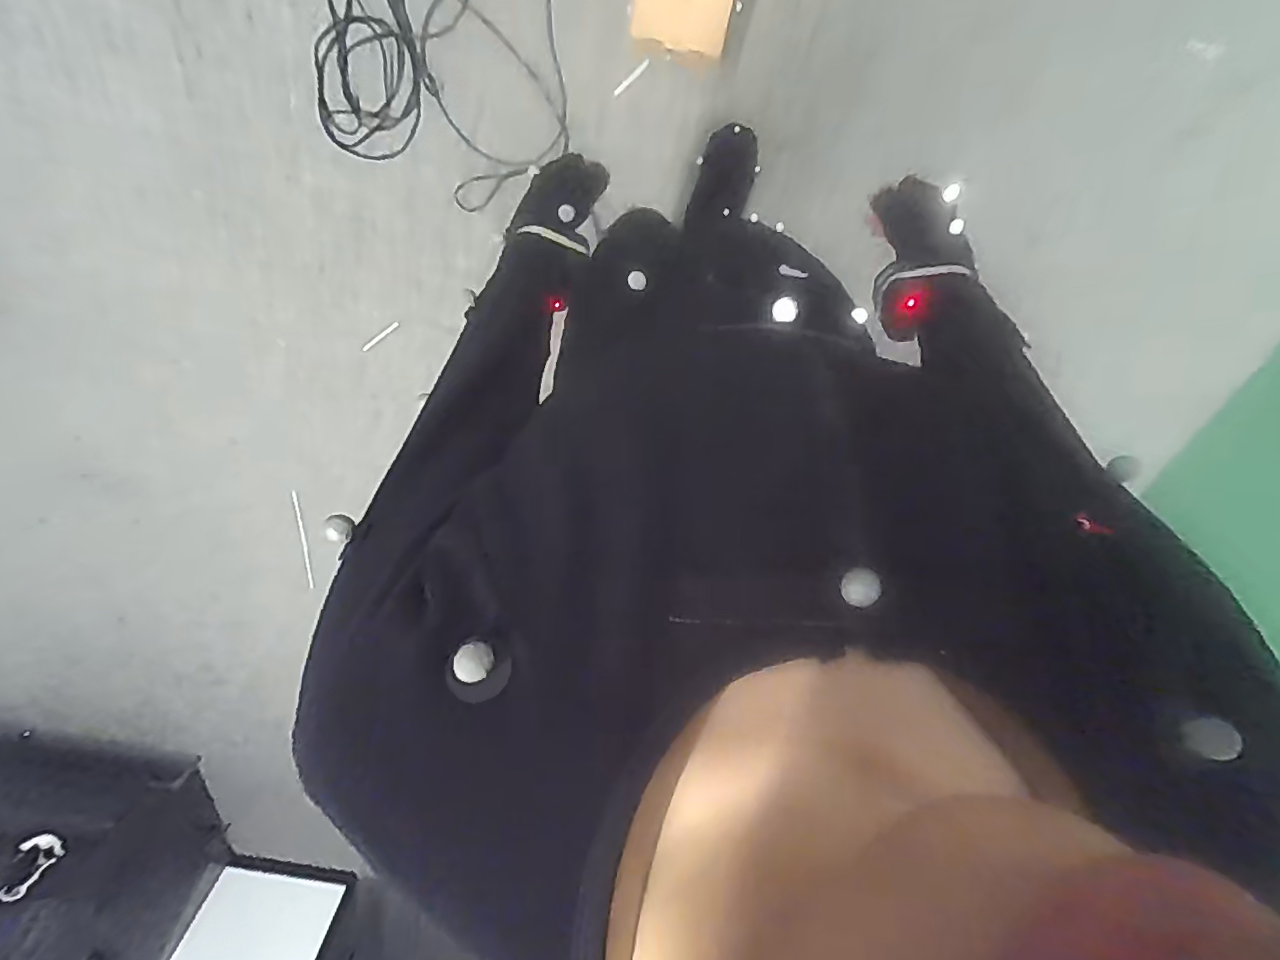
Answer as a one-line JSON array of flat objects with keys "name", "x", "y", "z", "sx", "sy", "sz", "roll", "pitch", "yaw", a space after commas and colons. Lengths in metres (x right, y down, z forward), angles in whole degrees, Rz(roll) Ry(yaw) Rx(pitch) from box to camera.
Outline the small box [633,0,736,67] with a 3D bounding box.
[{"name": "small box", "x": 0.089, "y": -0.876, "z": 0.976, "sx": 0.168, "sy": 0.176, "sz": 0.179, "roll": 12, "pitch": 125, "yaw": -3}]
